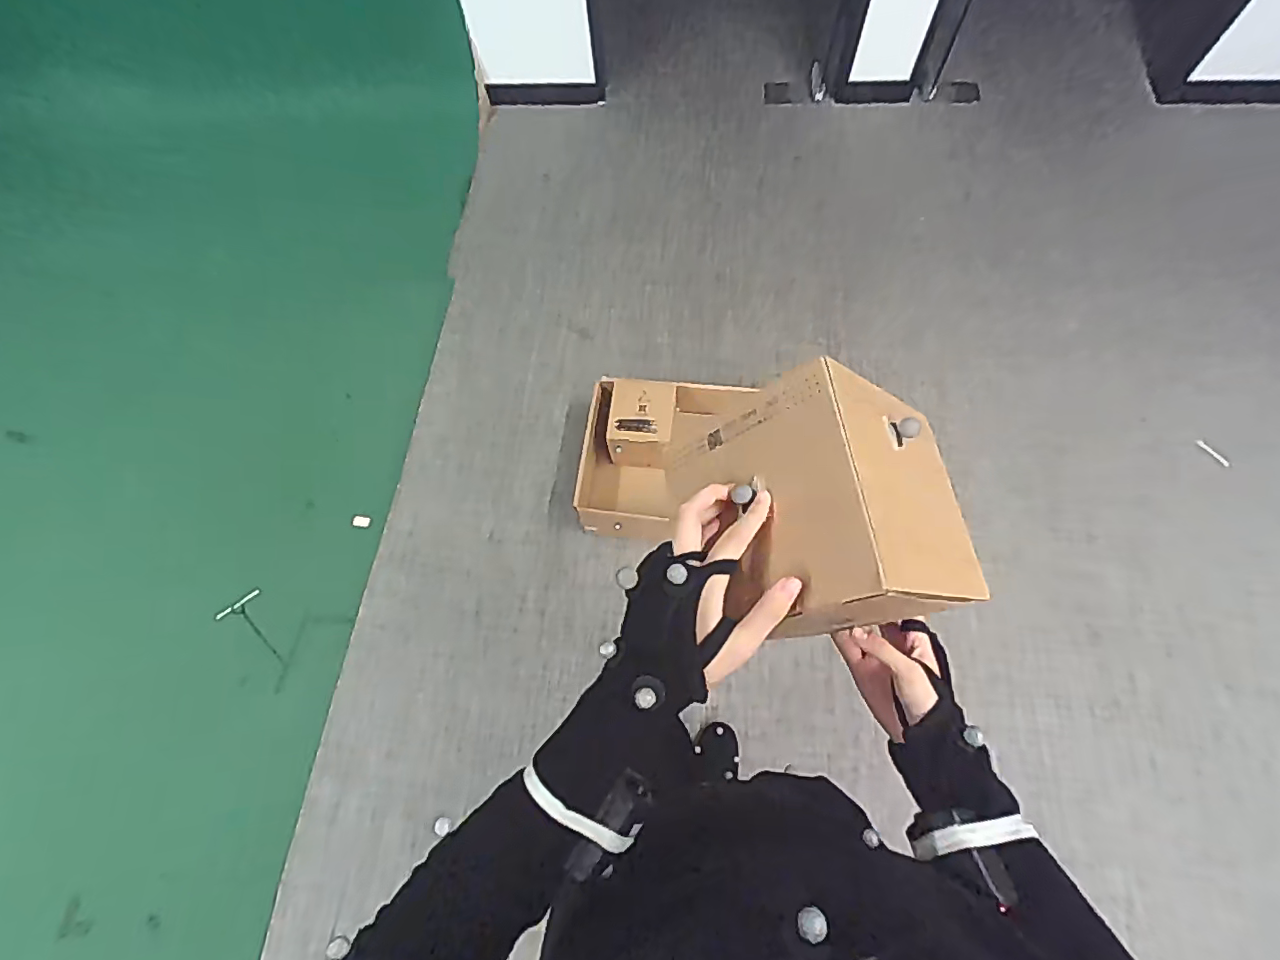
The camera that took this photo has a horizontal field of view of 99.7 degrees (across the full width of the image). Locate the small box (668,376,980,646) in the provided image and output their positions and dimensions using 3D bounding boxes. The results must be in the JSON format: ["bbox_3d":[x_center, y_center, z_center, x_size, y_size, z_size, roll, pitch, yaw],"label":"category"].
[{"bbox_3d":[0.140,0.037,0.447,0.179,0.168,0.176,15,60,-40],"label":"small box"}]
